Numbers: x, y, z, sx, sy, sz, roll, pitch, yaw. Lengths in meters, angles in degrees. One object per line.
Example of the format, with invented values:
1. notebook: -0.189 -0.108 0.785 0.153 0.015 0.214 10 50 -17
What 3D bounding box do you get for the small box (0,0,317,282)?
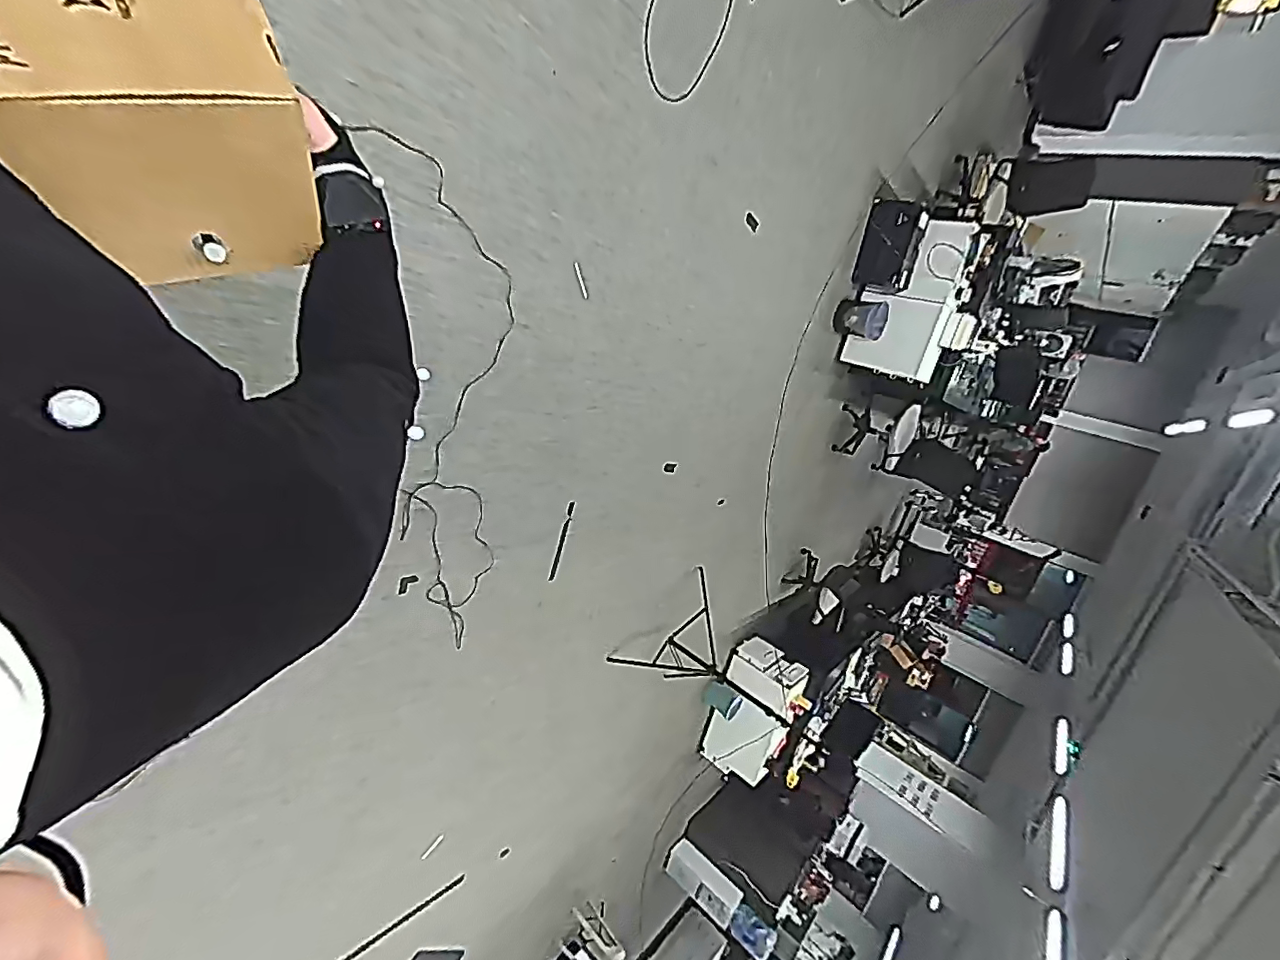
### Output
1. small box: -0.382 -0.287 0.435 0.179 0.168 0.176 -24 171 -30
